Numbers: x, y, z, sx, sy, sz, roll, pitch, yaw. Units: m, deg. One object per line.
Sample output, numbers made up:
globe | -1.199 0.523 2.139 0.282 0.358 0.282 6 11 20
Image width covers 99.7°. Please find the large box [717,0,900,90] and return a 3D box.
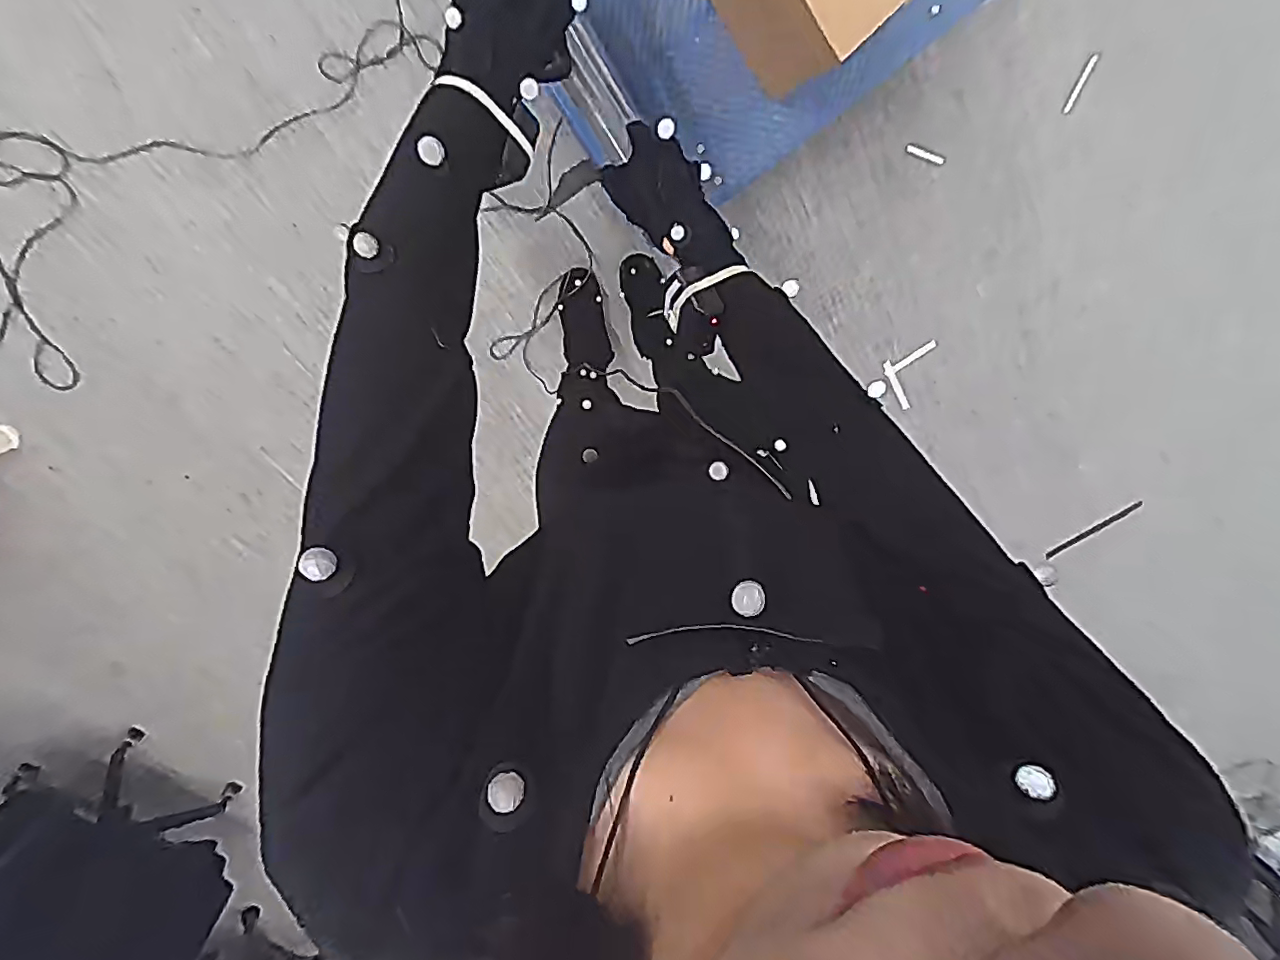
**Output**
large box | 0.263 -0.922 0.830 0.320 0.320 0.408 -41 114 14
